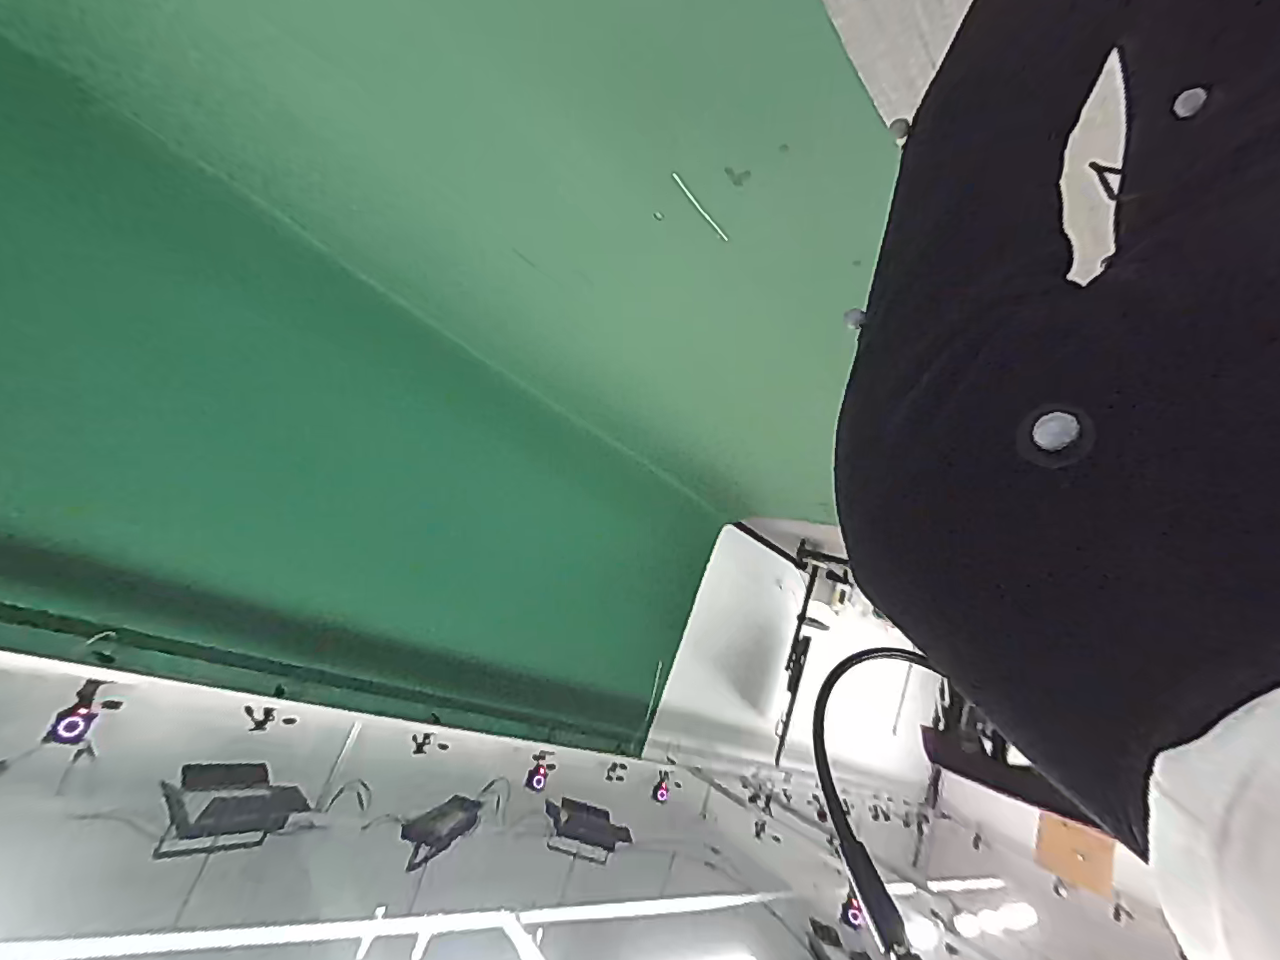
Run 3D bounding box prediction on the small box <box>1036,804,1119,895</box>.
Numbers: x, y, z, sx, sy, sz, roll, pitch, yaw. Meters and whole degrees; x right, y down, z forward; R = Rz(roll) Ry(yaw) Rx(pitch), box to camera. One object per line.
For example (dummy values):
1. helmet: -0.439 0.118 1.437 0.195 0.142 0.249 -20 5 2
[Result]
1. small box: 1.305 1.090 1.610 0.168 0.176 0.179 5 161 47
